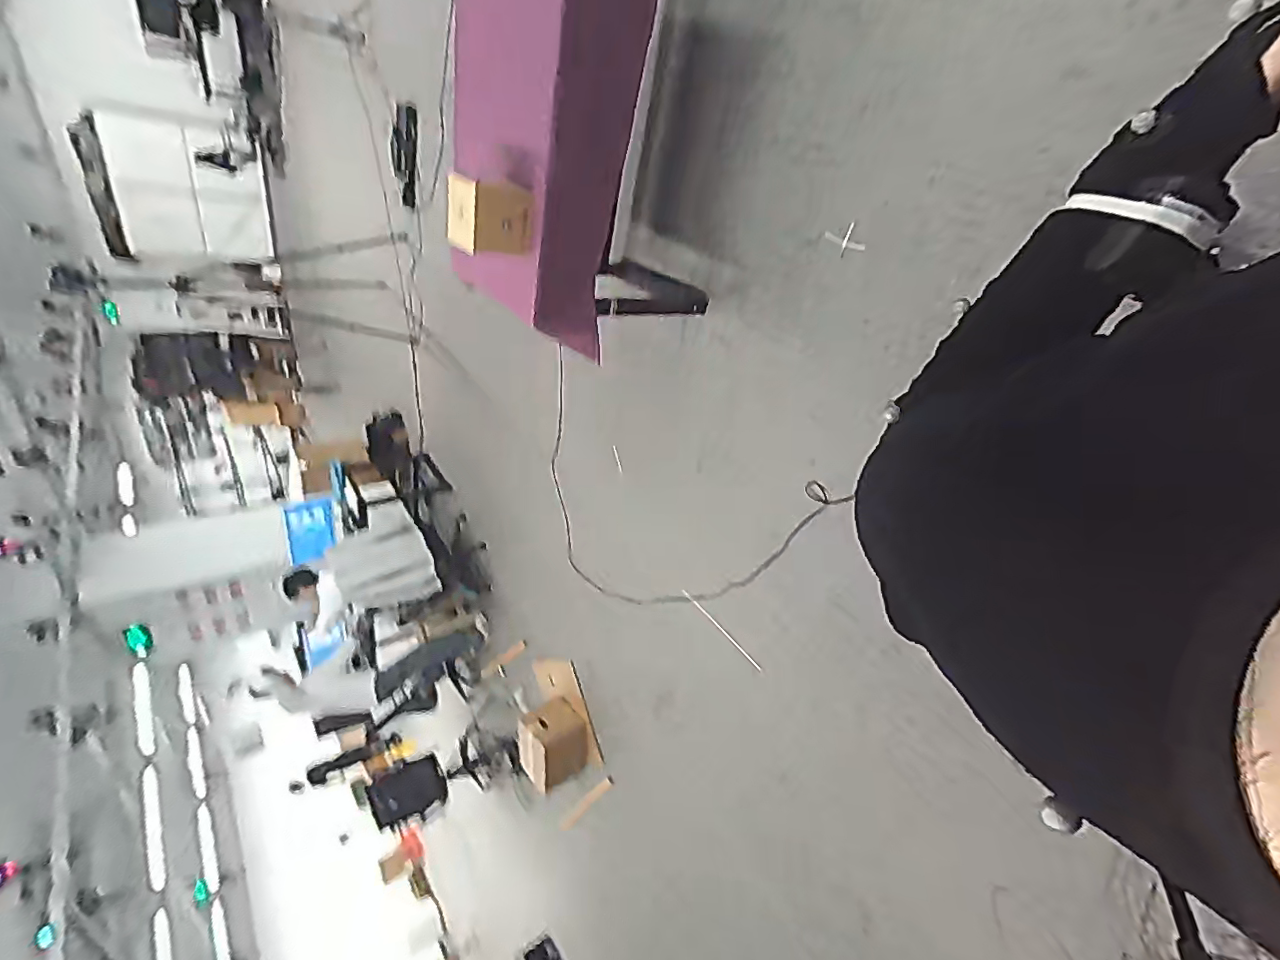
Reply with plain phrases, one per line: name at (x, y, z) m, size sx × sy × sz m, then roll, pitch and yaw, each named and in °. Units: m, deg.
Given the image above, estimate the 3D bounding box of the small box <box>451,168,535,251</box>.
small box at (-0.404, -0.738, 1.485) m, size 0.179 × 0.176 × 0.168 m, roll 41°, pitch 130°, yaw 38°
